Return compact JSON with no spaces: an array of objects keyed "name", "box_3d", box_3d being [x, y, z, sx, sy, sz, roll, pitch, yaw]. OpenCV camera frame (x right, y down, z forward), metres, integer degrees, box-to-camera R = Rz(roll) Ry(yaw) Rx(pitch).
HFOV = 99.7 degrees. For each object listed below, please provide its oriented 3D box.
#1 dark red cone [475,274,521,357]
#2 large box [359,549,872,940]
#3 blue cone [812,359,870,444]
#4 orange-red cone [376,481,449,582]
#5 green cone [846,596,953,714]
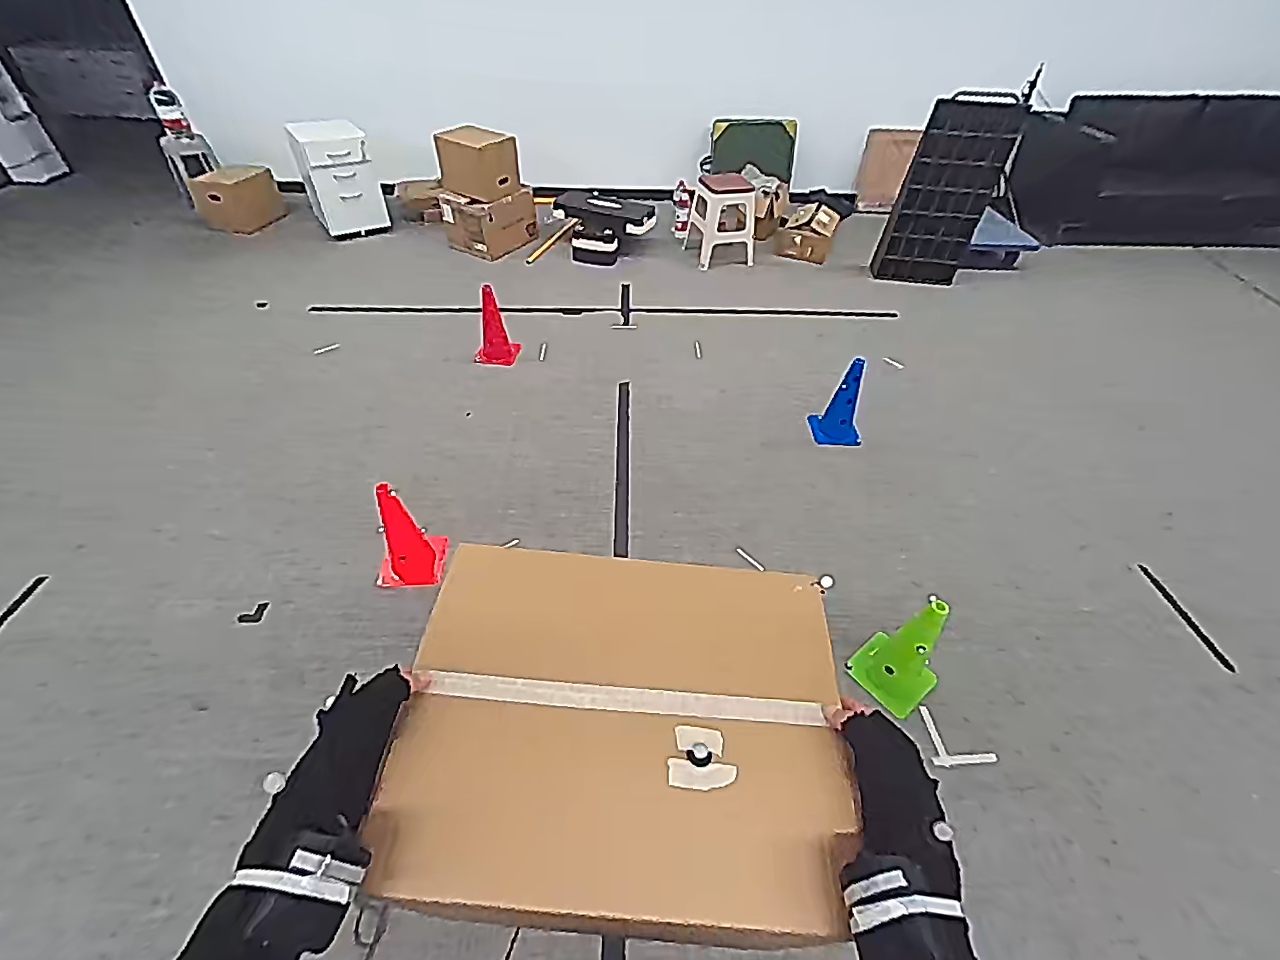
[{"name":"dark red cone","box_3d":[-0.701,-0.790,2.598,0.201,0.394,0.202,5,45,1]},{"name":"large box","box_3d":[-0.022,0.306,0.618,0.408,0.320,0.320,6,48,-1]},{"name":"blue cone","box_3d":[0.874,-0.341,2.273,0.192,0.380,0.193,4,45,-1]},{"name":"orange-red cone","box_3d":[-0.748,0.140,1.691,0.198,0.360,0.199,-2,46,-3]},{"name":"green cone","box_3d":[0.743,0.435,1.459,0.202,0.368,0.200,-27,53,-29]}]
